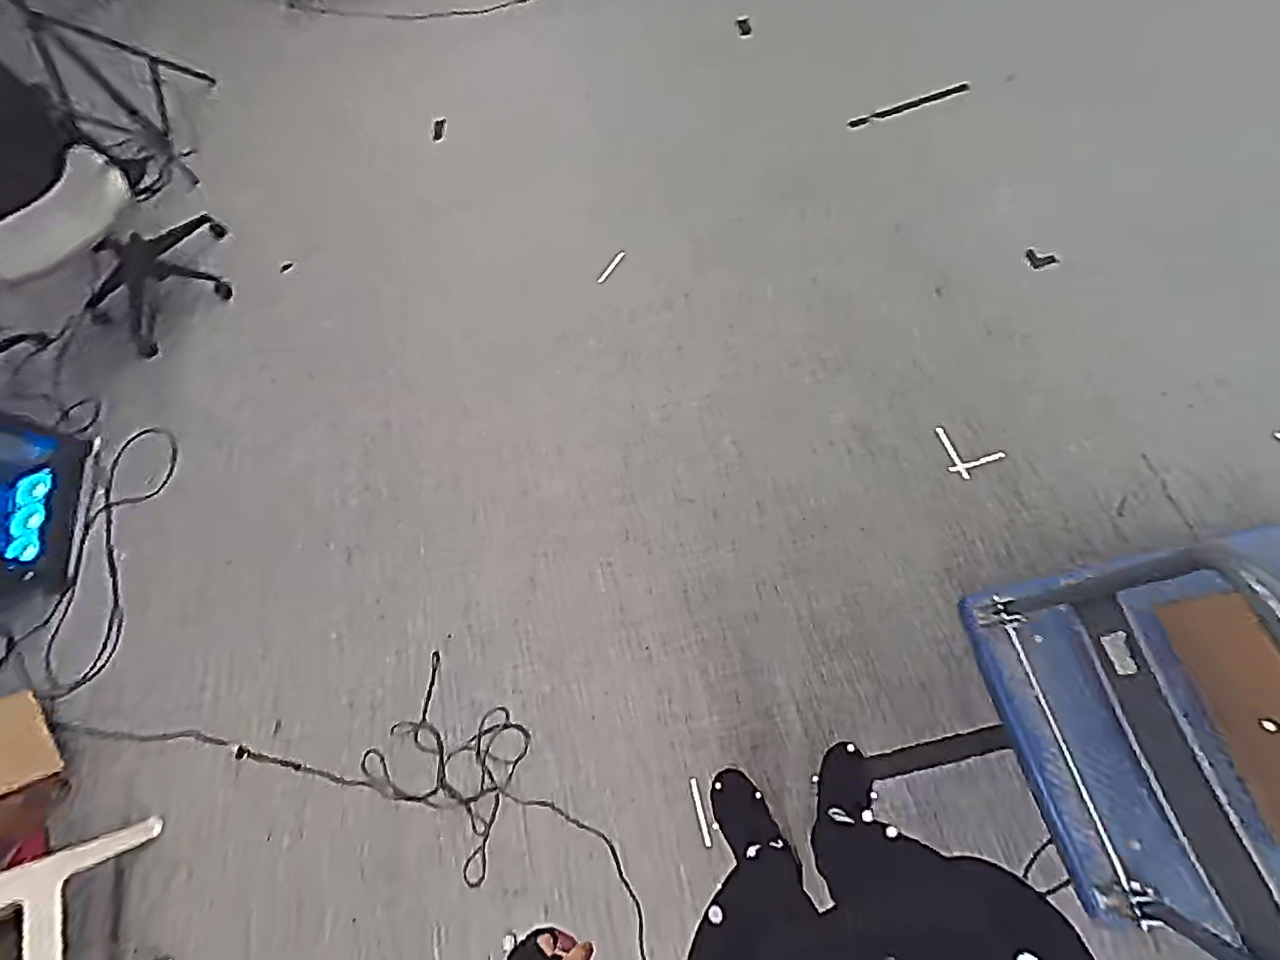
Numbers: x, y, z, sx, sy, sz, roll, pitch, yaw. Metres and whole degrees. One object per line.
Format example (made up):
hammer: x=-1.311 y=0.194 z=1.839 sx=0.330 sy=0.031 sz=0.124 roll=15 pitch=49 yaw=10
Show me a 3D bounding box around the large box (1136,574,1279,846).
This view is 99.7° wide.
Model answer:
large box: x=1.127 y=0.344 z=0.840 sx=0.320 sy=0.320 sz=0.408 roll=-14 pitch=66 yaw=6
